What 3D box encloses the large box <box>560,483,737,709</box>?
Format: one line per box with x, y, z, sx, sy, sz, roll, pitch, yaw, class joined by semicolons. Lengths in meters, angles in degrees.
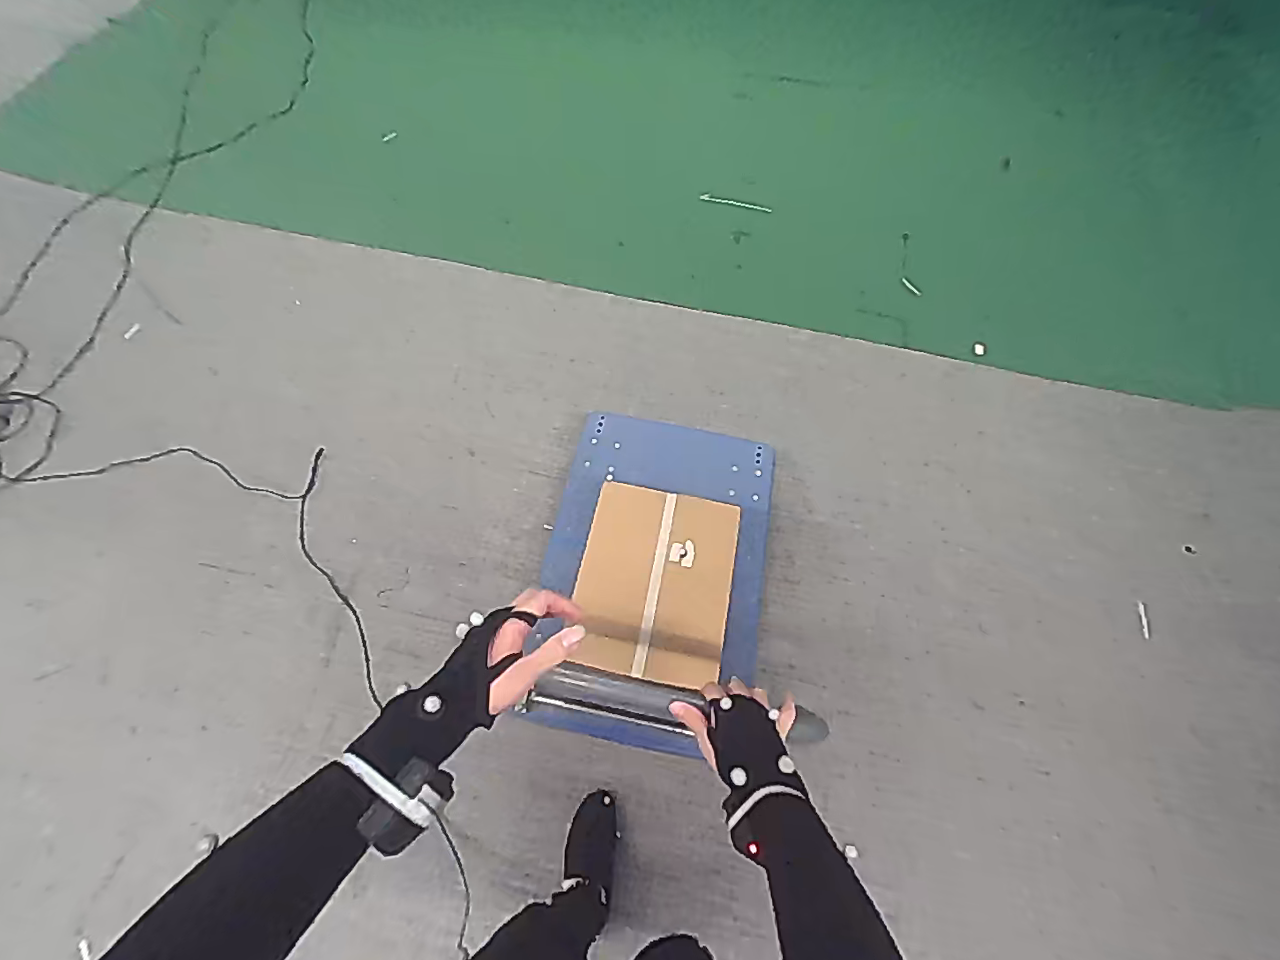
0.026;0.275;1.243;0.320;0.320;0.408;11;62;3;large box
